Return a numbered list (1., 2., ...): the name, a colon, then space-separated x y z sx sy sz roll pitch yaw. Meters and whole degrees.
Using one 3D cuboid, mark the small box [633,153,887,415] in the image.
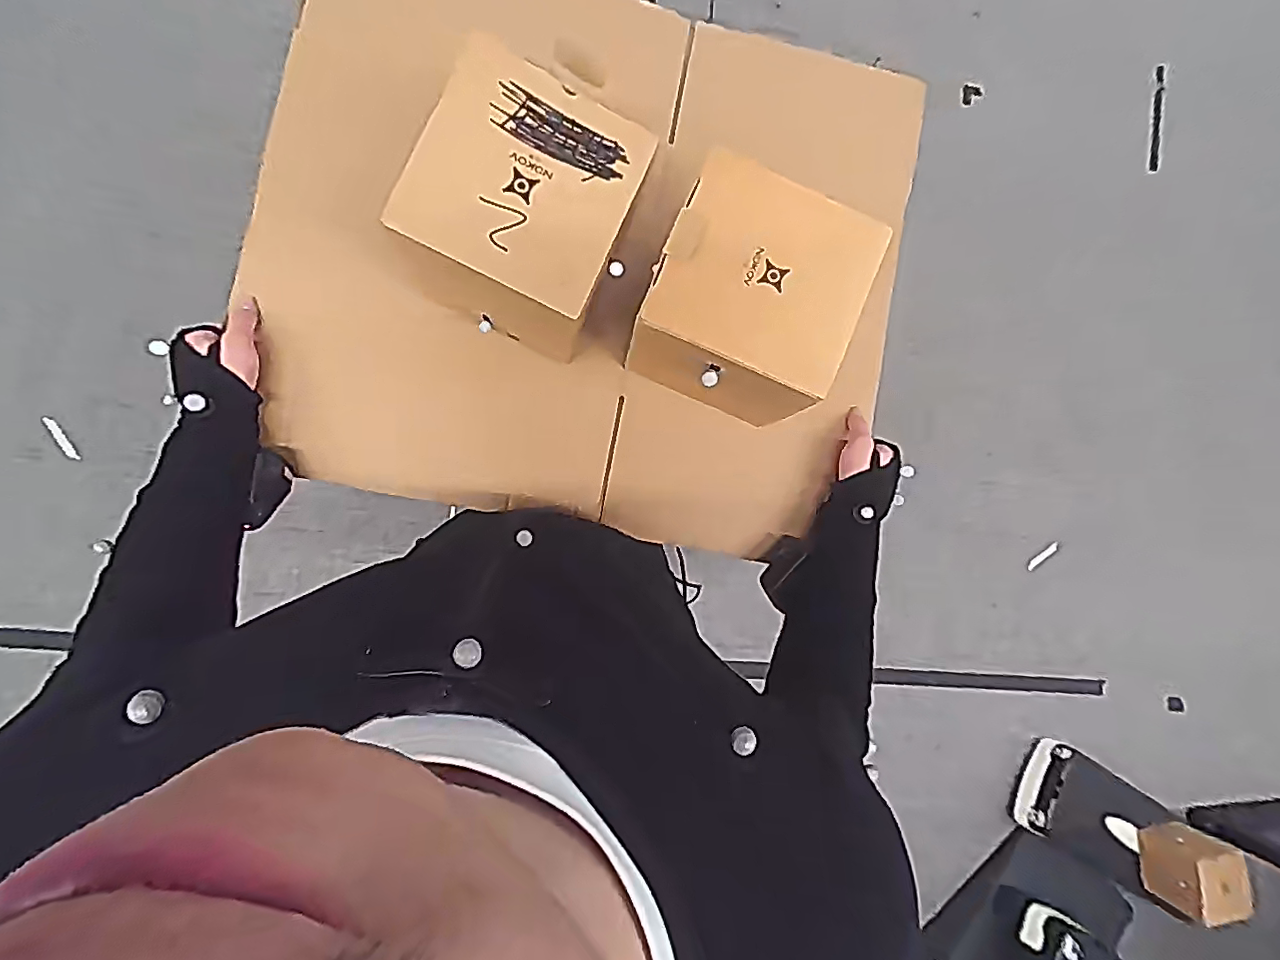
1. small box: 0.105 -0.176 0.550 0.179 0.176 0.168 23 87 -3
